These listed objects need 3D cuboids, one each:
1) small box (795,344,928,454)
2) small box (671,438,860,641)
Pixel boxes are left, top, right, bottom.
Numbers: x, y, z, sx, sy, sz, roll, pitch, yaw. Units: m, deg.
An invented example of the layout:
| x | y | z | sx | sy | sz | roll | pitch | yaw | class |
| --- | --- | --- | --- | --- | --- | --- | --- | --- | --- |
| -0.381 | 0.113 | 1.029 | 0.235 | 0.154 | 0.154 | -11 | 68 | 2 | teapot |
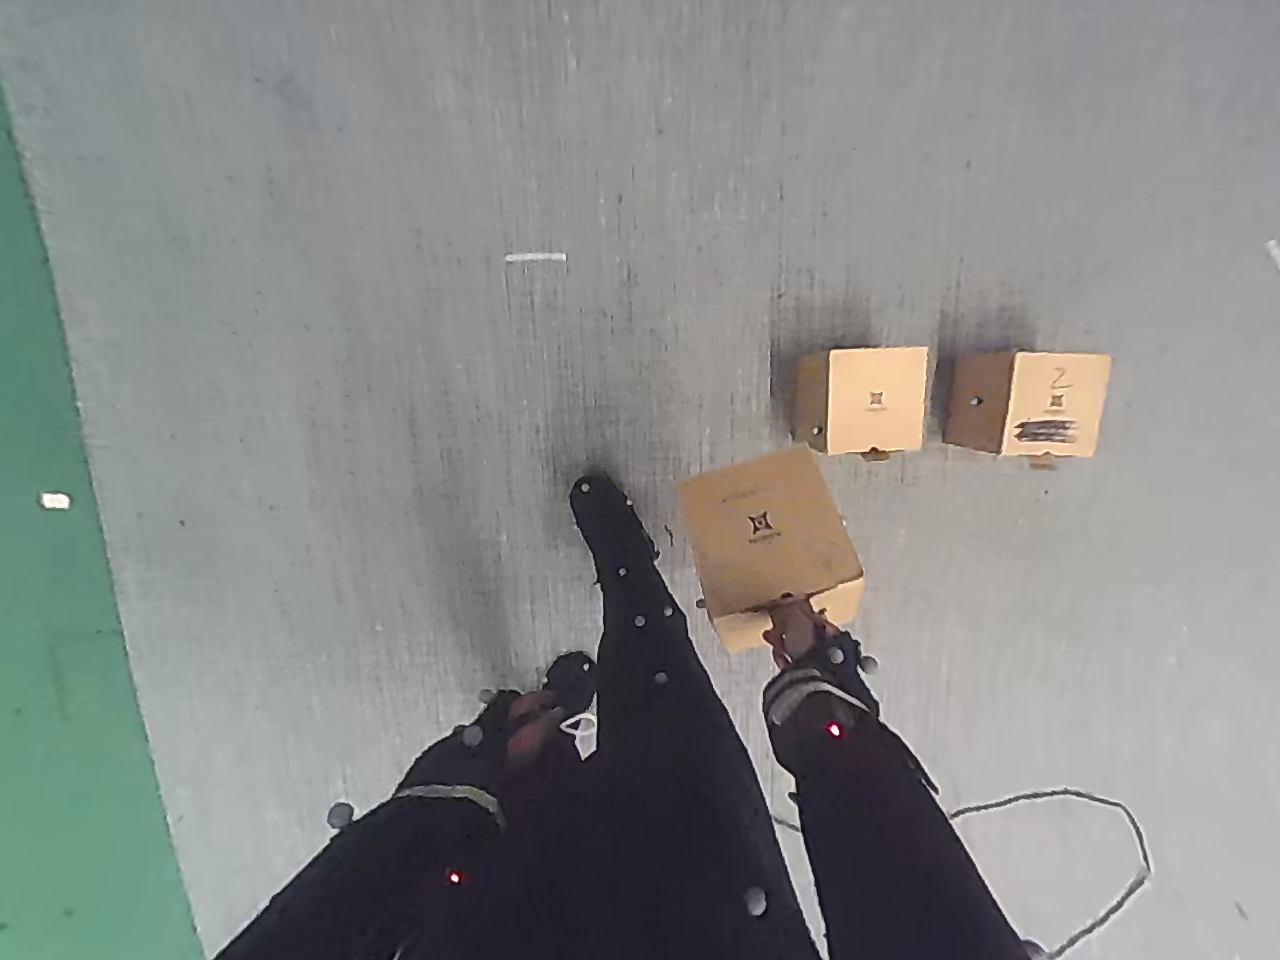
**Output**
| x | y | z | sx | sy | sz | roll | pitch | yaw | class |
| --- | --- | --- | --- | --- | --- | --- | --- | --- | --- |
| 0.384 | -0.145 | 0.964 | 0.168 | 0.176 | 0.179 | -3 | 102 | -2 | small box |
| 0.149 | 0.083 | 0.656 | 0.168 | 0.176 | 0.179 | -17 | 57 | 6 | small box |
